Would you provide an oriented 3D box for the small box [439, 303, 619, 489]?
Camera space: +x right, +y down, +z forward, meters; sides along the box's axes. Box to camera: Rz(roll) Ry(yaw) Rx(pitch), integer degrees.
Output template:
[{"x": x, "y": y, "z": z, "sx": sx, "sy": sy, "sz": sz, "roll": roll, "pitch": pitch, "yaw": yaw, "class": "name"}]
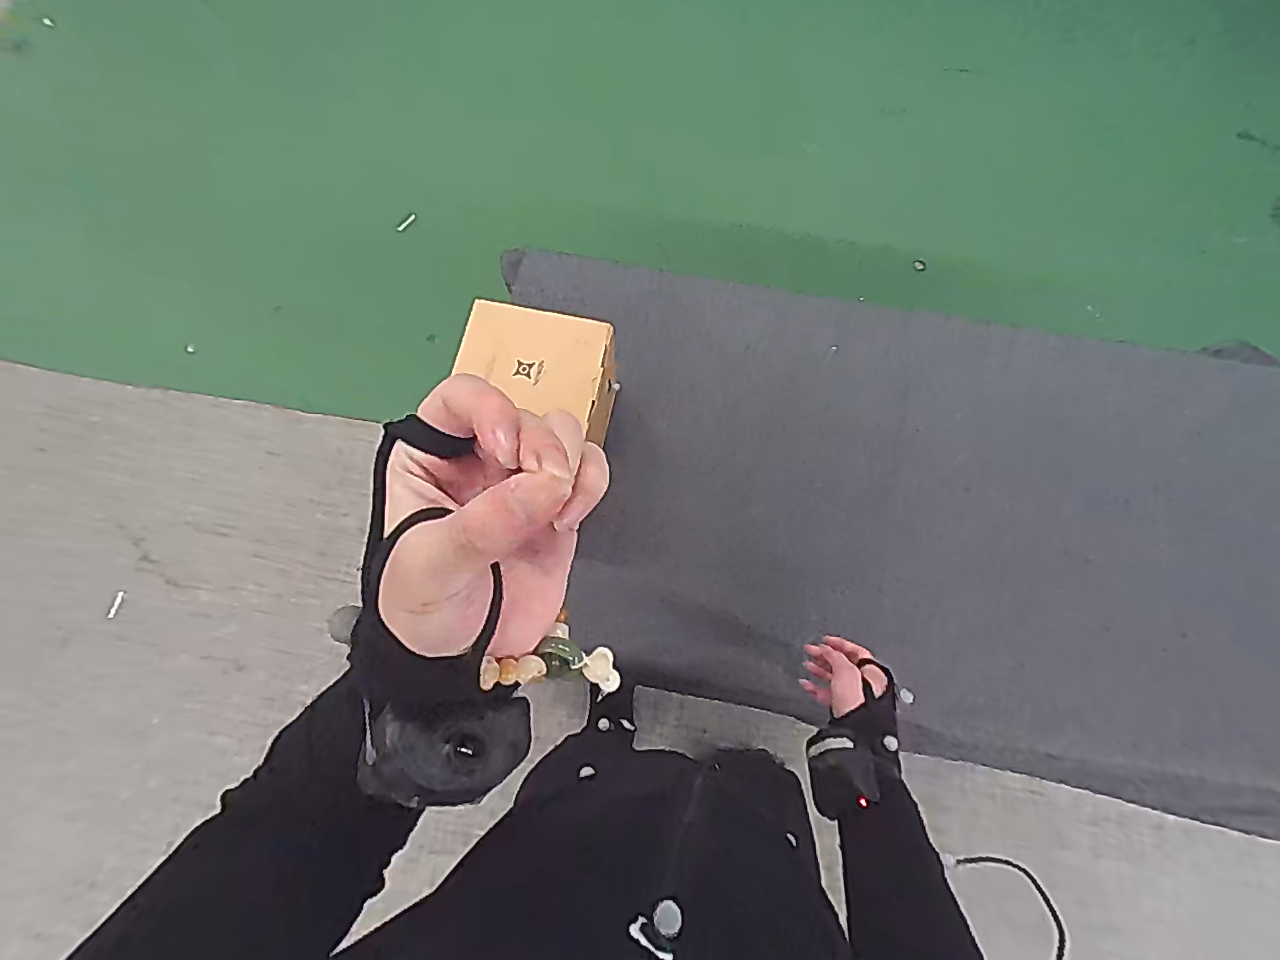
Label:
[{"x": -0.129, "y": -0.099, "z": 0.710, "sx": 0.179, "sy": 0.176, "sz": 0.168, "roll": 13, "pitch": 71, "yaw": 3, "class": "small box"}]
